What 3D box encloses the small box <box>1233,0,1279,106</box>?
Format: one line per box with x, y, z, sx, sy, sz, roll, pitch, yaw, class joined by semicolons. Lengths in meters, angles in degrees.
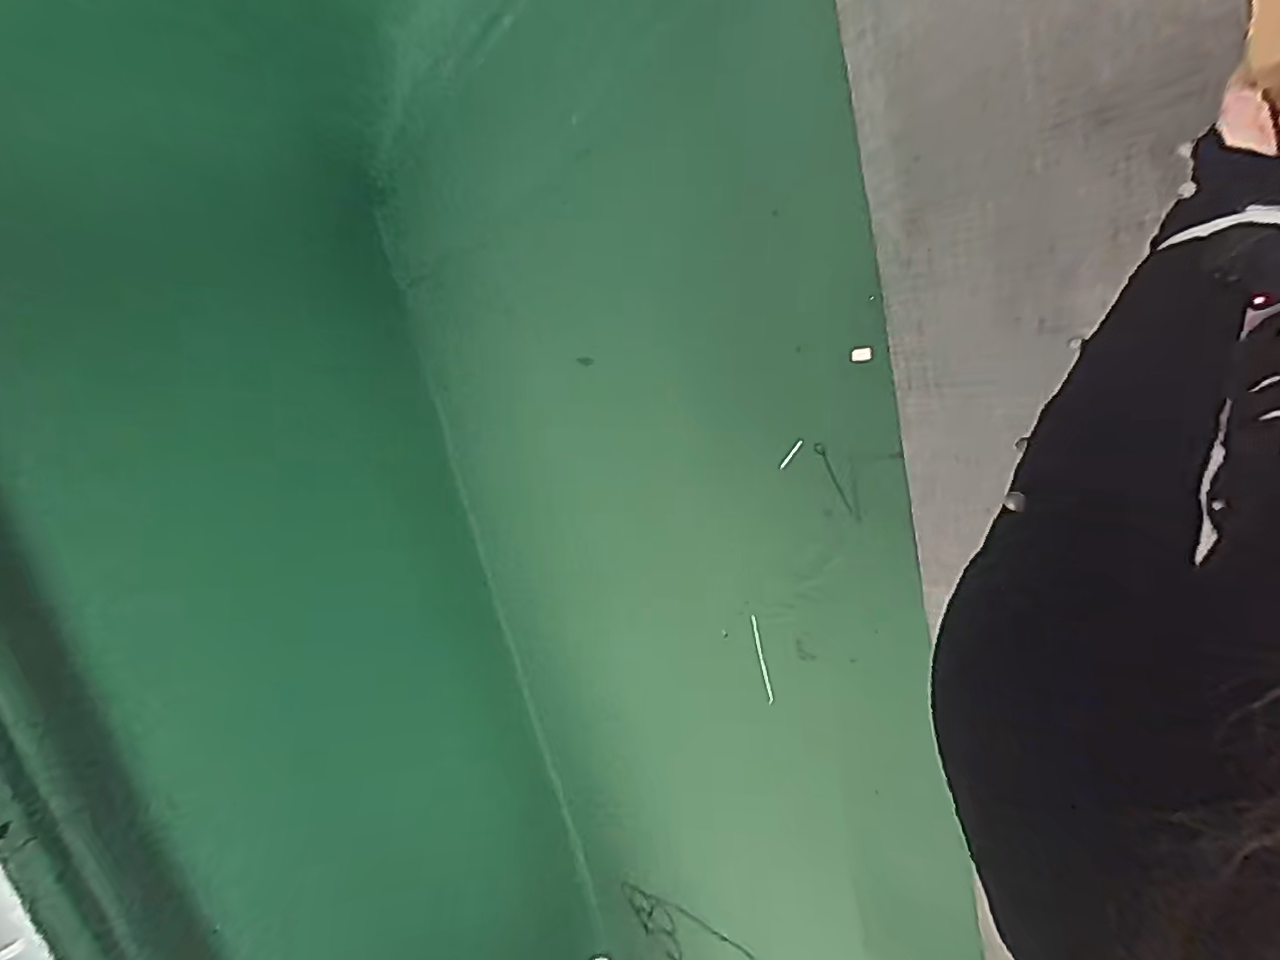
0.512;-0.371;0.334;0.179;0.176;0.168;3;102;57;small box
